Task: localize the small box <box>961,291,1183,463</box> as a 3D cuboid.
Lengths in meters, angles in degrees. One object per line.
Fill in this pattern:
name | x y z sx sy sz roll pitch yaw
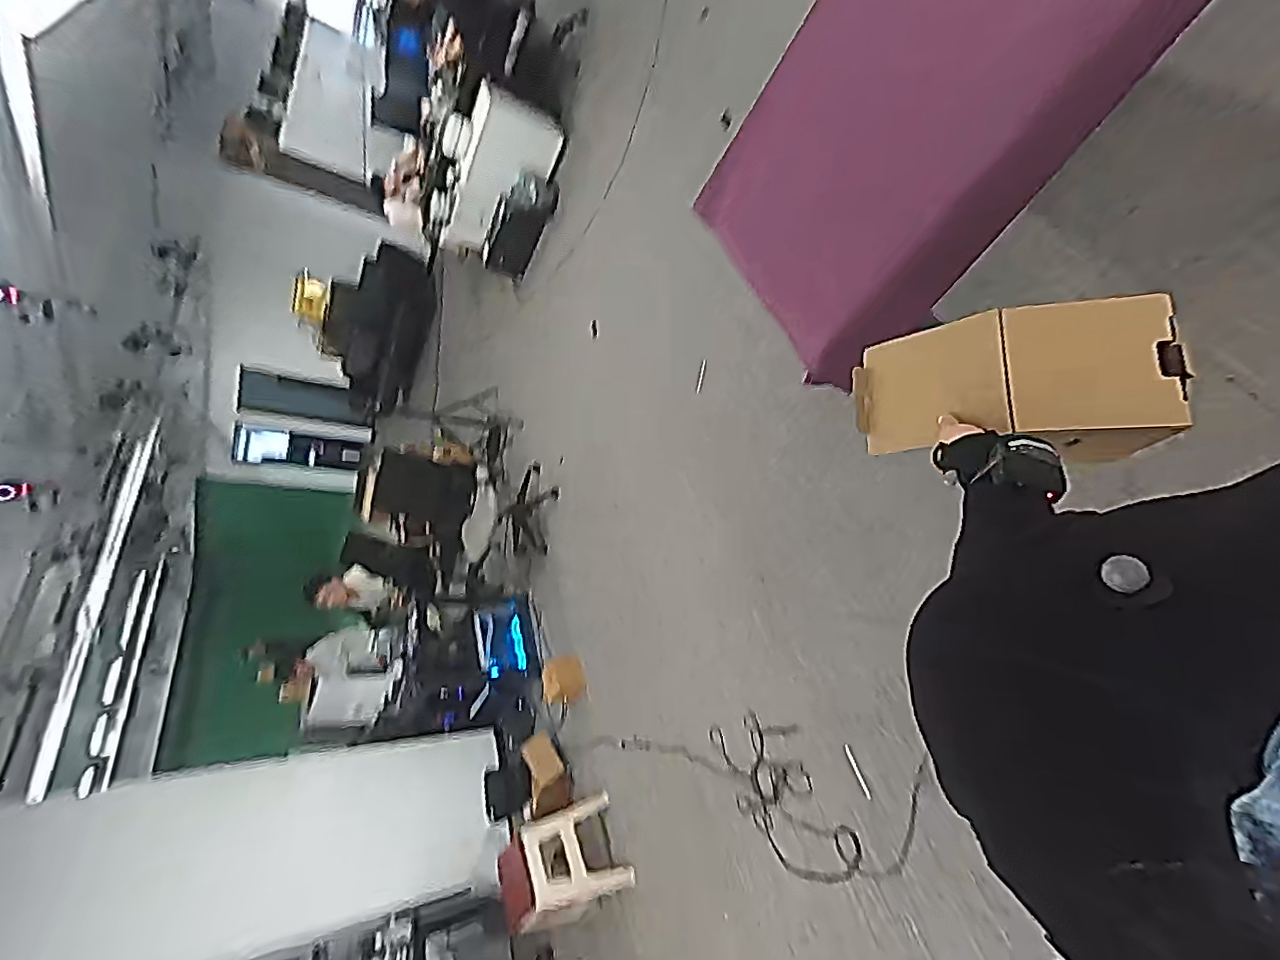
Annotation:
small box | 0.535 -0.120 0.704 0.179 0.176 0.168 -1 79 16
